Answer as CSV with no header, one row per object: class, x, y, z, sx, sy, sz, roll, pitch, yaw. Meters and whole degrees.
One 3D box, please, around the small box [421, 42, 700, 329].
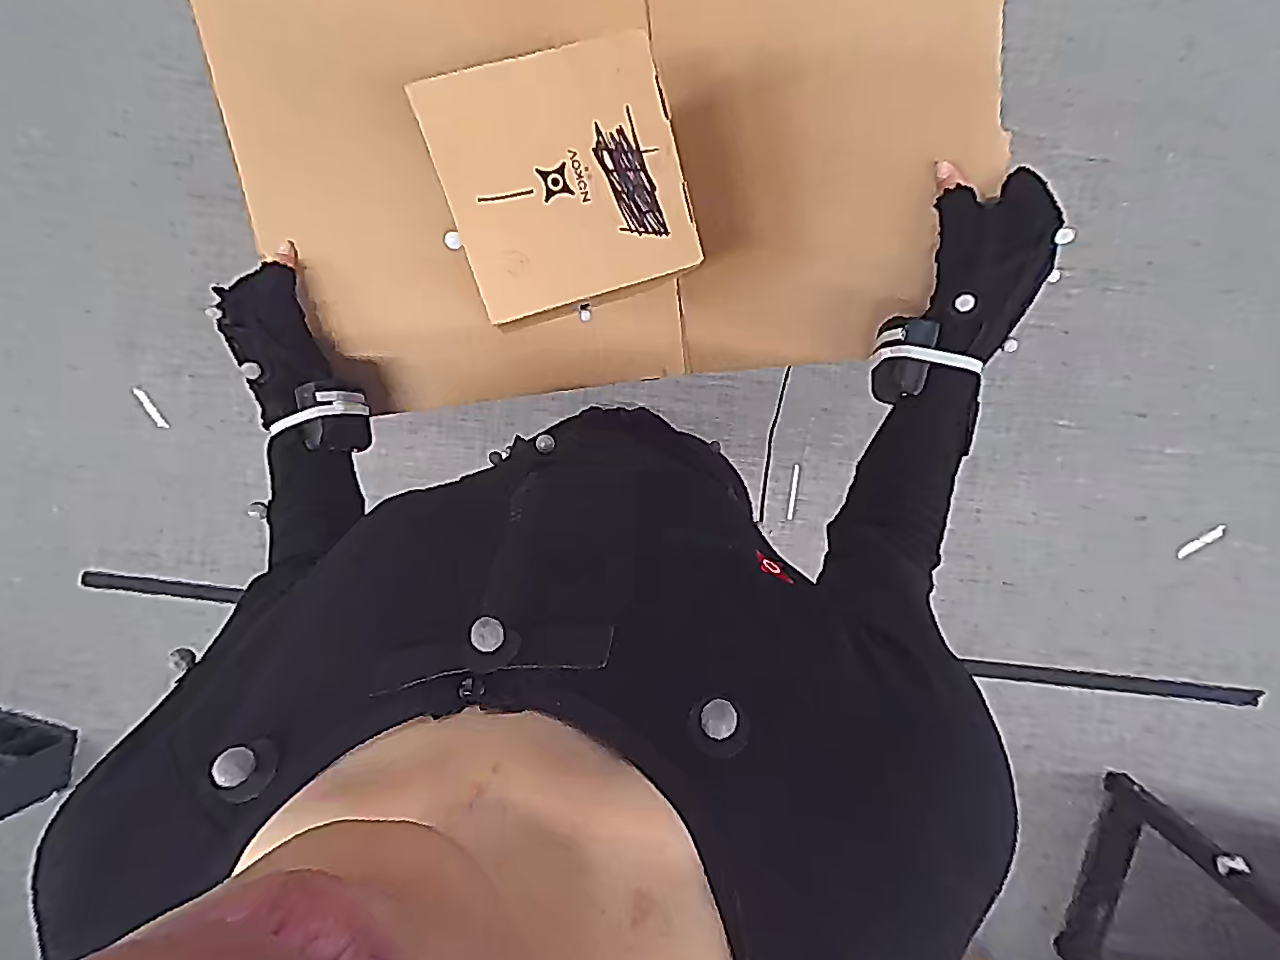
small box,-0.068,-0.239,0.483,0.179,0.176,0.168,-18,105,-7
